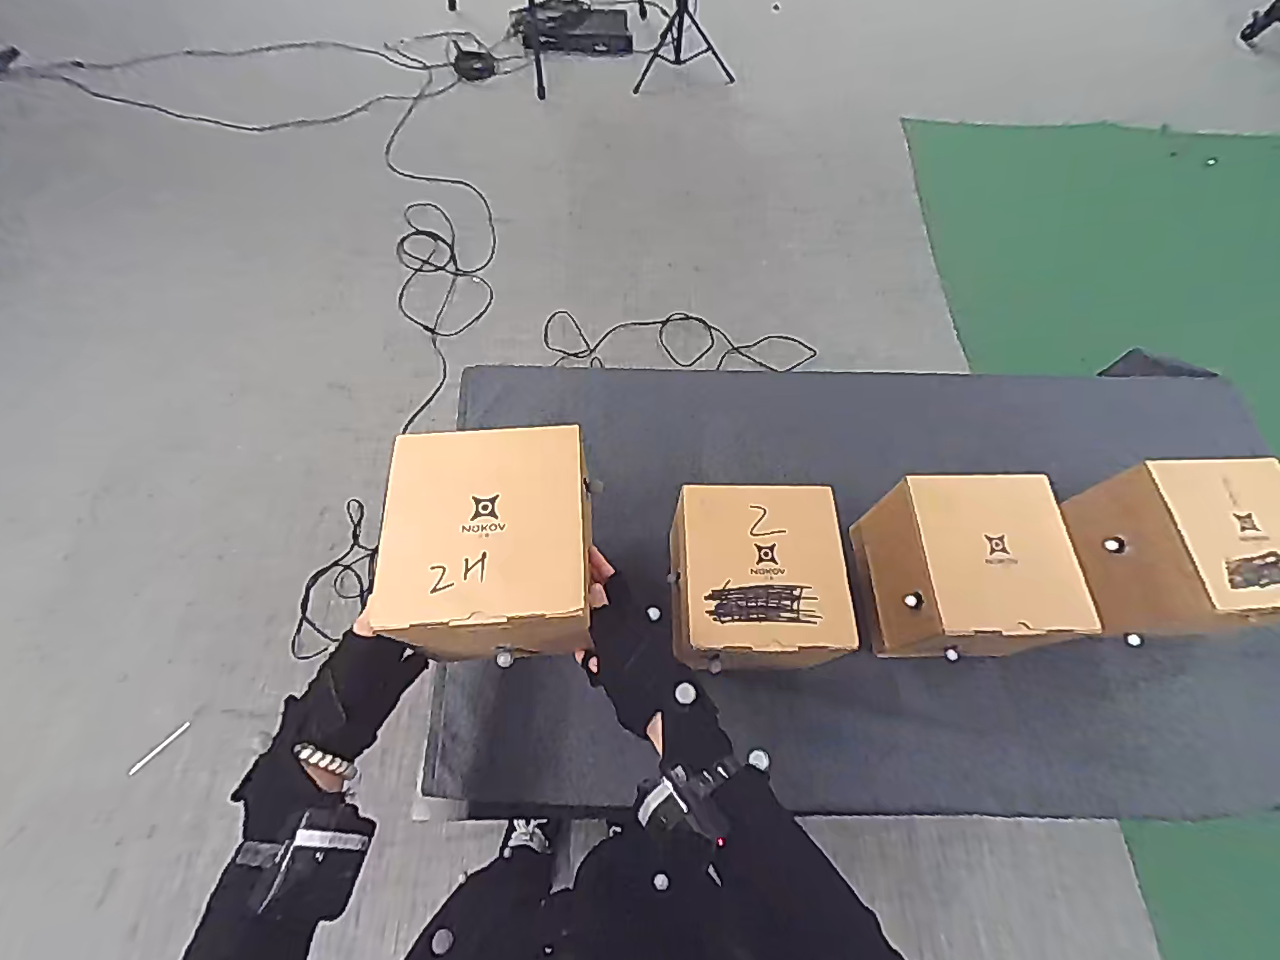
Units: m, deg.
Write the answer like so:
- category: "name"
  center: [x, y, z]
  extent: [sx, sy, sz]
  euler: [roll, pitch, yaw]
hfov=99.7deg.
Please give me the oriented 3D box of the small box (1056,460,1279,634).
- category: "small box"
  center: [0.656, 0.090, 0.662]
  extent: [0.168, 0.176, 0.179]
  euler: [-1, 64, -3]

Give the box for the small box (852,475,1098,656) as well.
- category: "small box"
  center: [0.374, 0.108, 0.646]
  extent: [0.168, 0.176, 0.179]
  euler: [0, 66, -3]

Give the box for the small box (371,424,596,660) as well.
- category: "small box"
  center: [-0.132, 0.066, 0.526]
  extent: [0.168, 0.176, 0.179]
  euler: [-3, 62, -2]
